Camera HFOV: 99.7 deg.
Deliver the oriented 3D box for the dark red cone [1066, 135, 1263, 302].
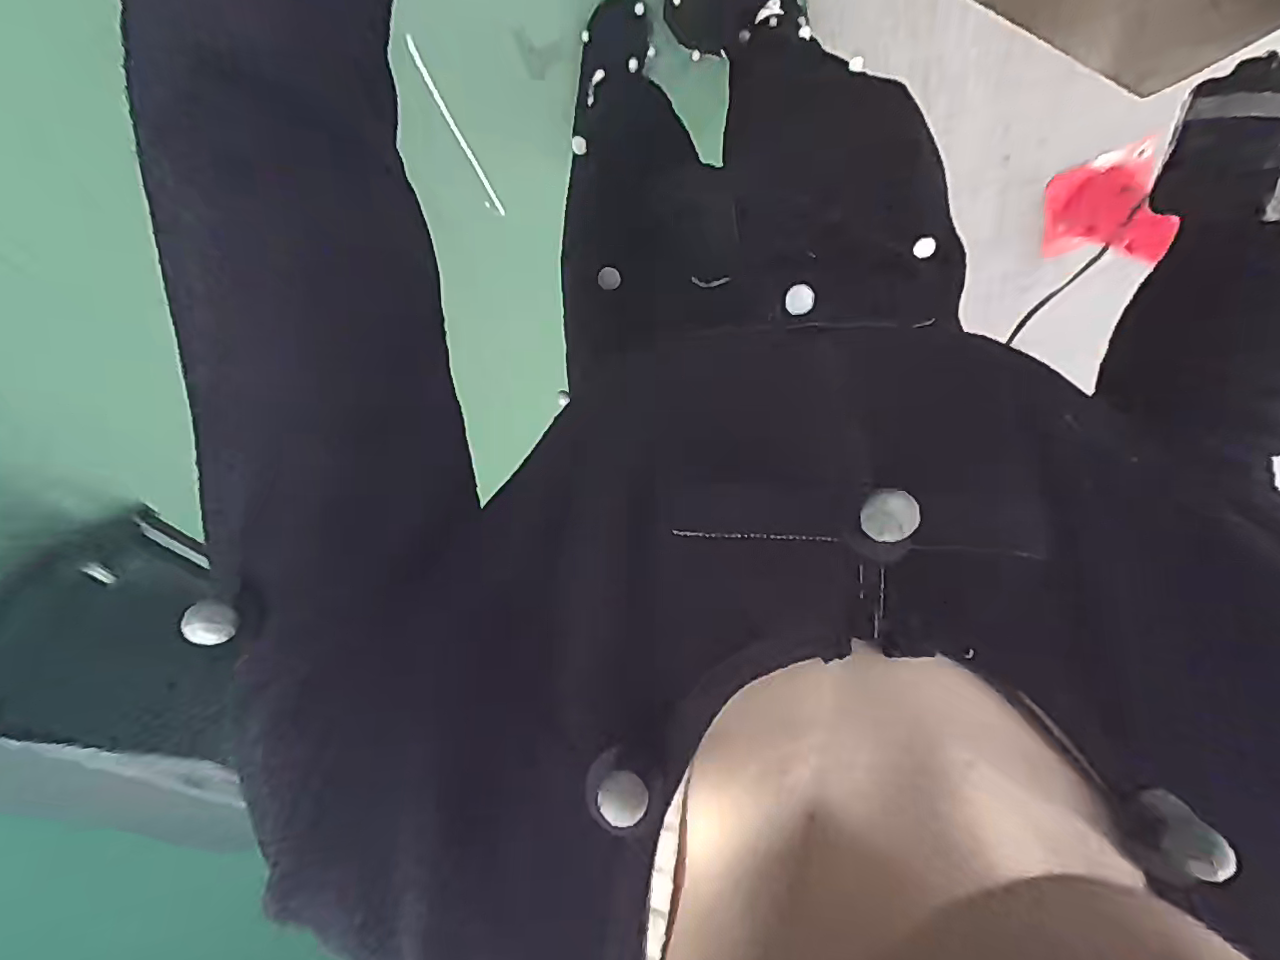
[{"bbox_3d":[0.995,-0.453,1.008,0.201,0.394,0.202,-21,134,22],"label":"dark red cone"}]
